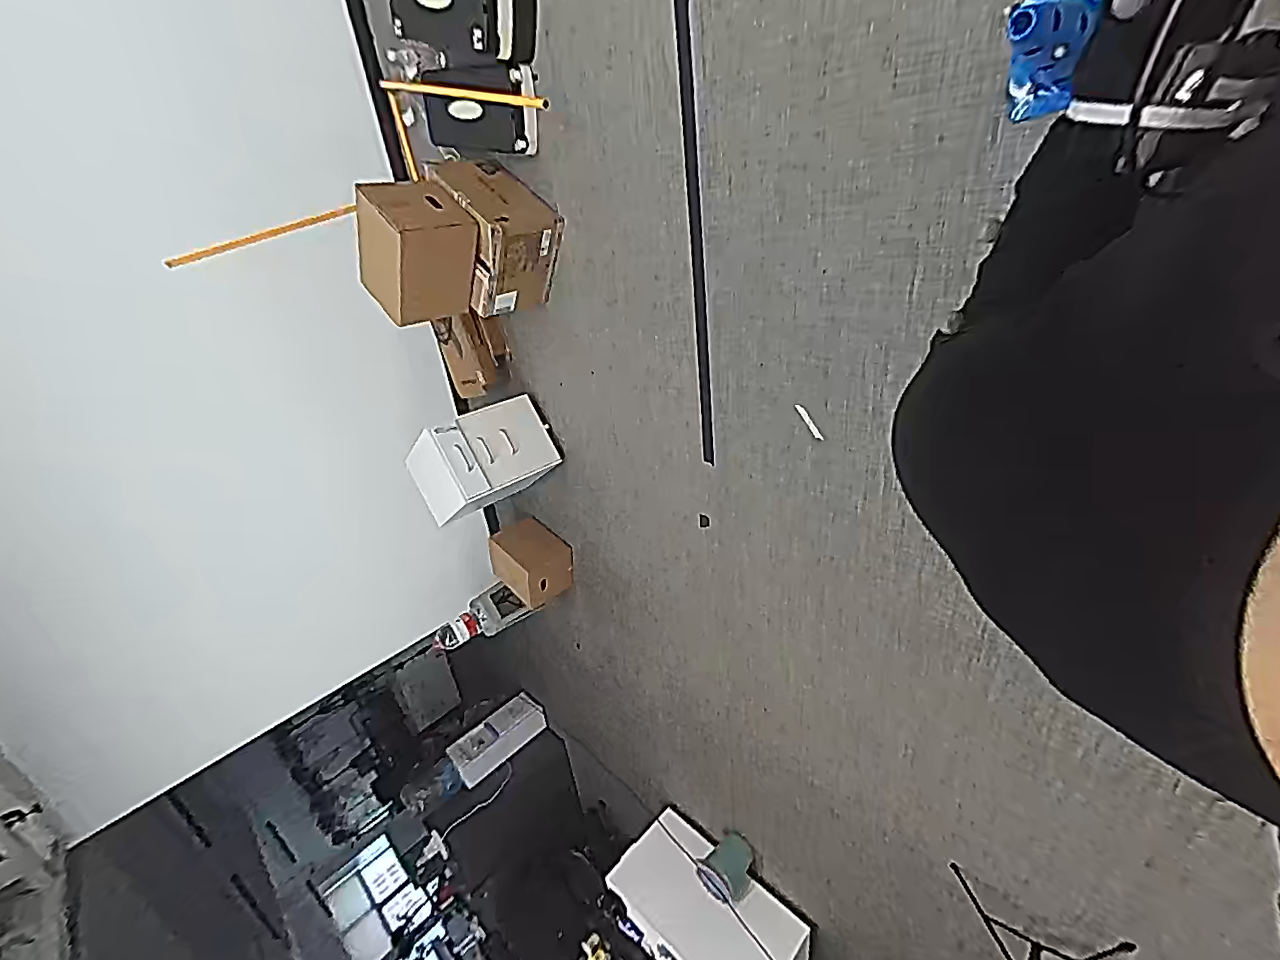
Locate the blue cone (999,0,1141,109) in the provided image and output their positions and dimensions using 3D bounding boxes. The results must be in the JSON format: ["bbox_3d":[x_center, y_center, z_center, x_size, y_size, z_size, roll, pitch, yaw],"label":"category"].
[{"bbox_3d":[0.669,-0.742,0.889,0.193,0.380,0.192,15,123,45],"label":"blue cone"}]
